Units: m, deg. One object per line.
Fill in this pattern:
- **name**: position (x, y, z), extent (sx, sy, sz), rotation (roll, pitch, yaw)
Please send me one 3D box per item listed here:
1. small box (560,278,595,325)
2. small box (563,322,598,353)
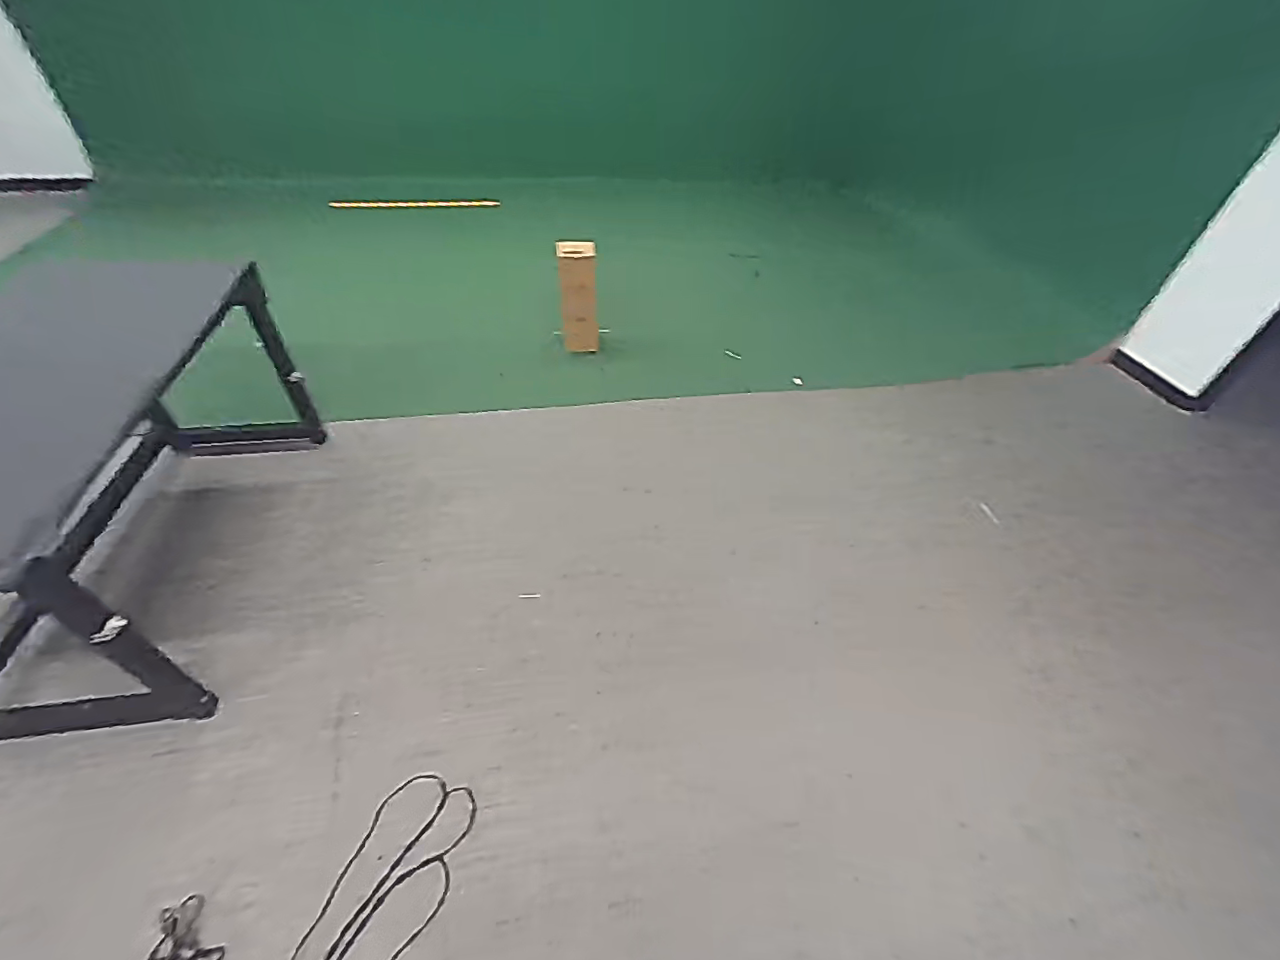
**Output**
- **small box**: position (-0.313, -0.889, 2.690), extent (0.168, 0.176, 0.179), rotation (-5, 45, -5)
- **small box**: position (-0.313, -0.771, 2.806), extent (0.168, 0.176, 0.179), rotation (-6, 44, -8)
